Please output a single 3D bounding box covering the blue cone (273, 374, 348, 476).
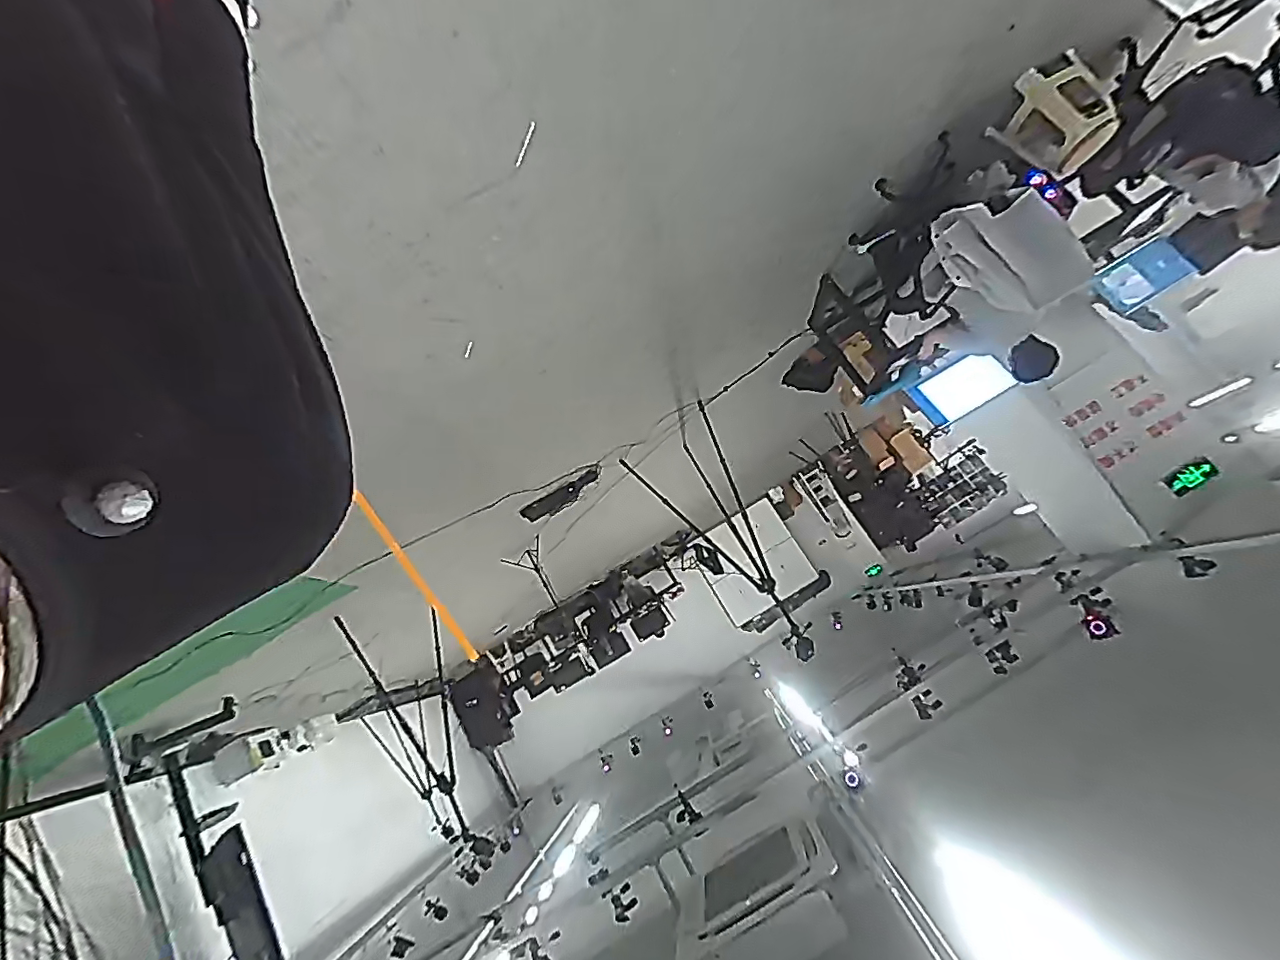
[{"bbox_3d":[-1.109,-0.179,1.882,0.193,0.380,0.192,-18,158,-45],"label":"blue cone"}]
